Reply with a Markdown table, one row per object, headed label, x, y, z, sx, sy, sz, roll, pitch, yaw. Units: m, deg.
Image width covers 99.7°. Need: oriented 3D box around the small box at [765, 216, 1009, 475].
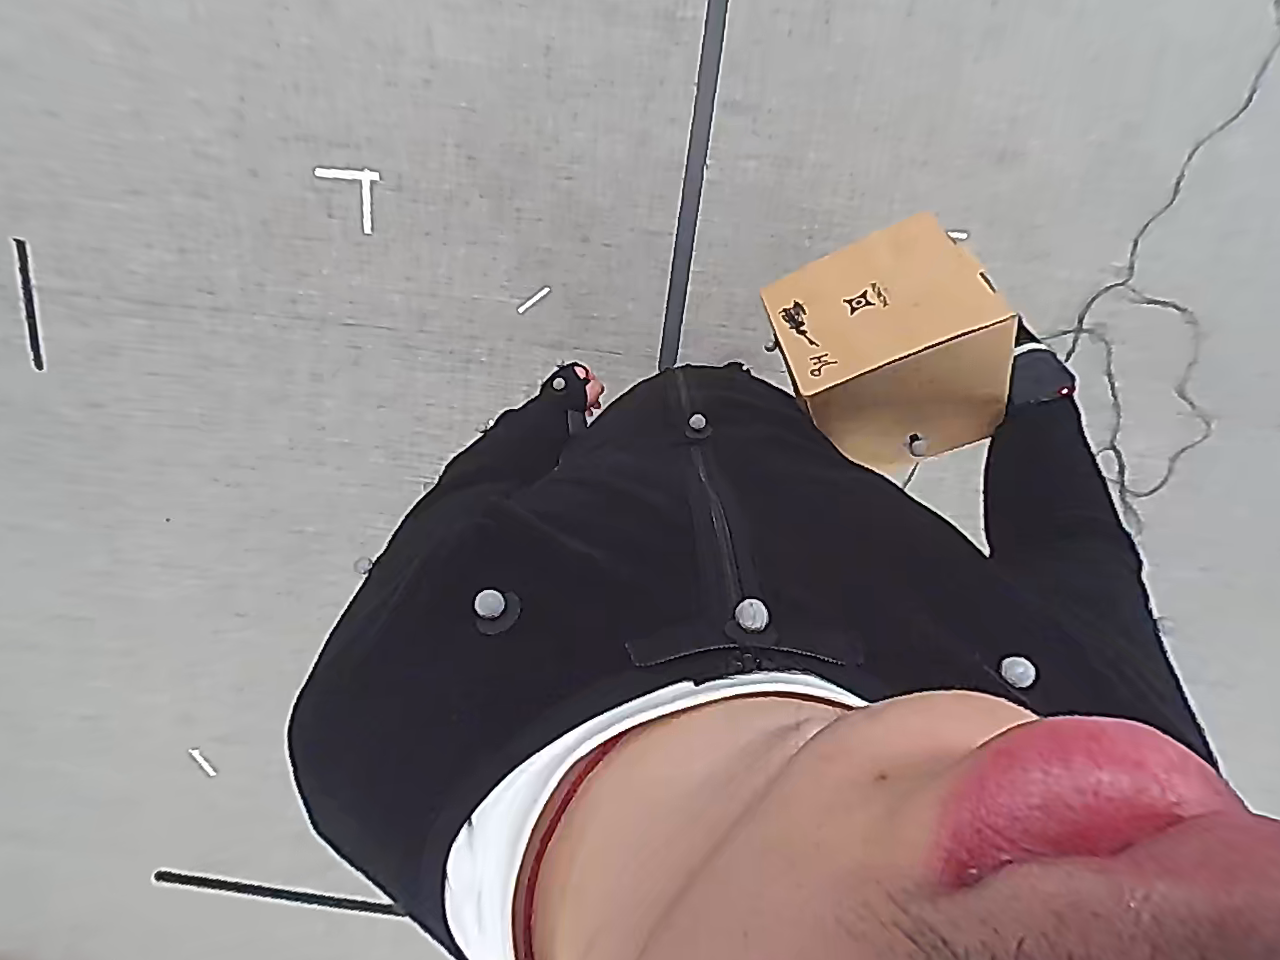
| label | x | y | z | sx | sy | sz | roll | pitch | yaw |
| --- | --- | --- | --- | --- | --- | --- | --- | --- | --- |
| small box | 0.254 | -0.132 | 0.579 | 0.179 | 0.168 | 0.176 | -21 | 141 | 17 |
